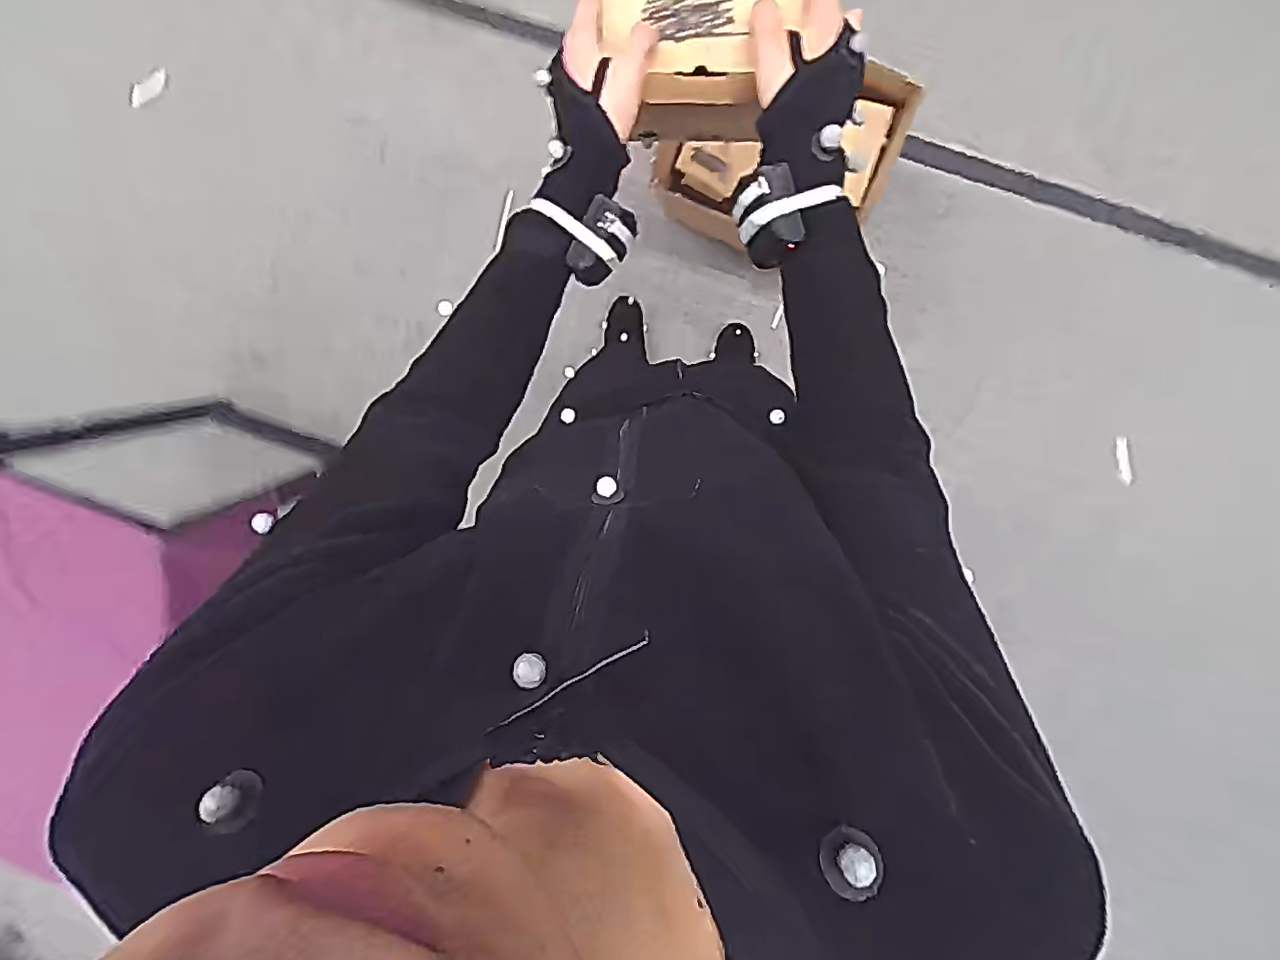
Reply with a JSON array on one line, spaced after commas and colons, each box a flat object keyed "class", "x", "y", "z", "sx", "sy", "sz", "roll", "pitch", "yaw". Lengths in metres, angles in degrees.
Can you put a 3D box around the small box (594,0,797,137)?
[{"class": "small box", "x": 0.051, "y": -0.435, "z": 0.498, "sx": 0.168, "sy": 0.176, "sz": 0.179, "roll": 1, "pitch": 106, "yaw": 4}]
